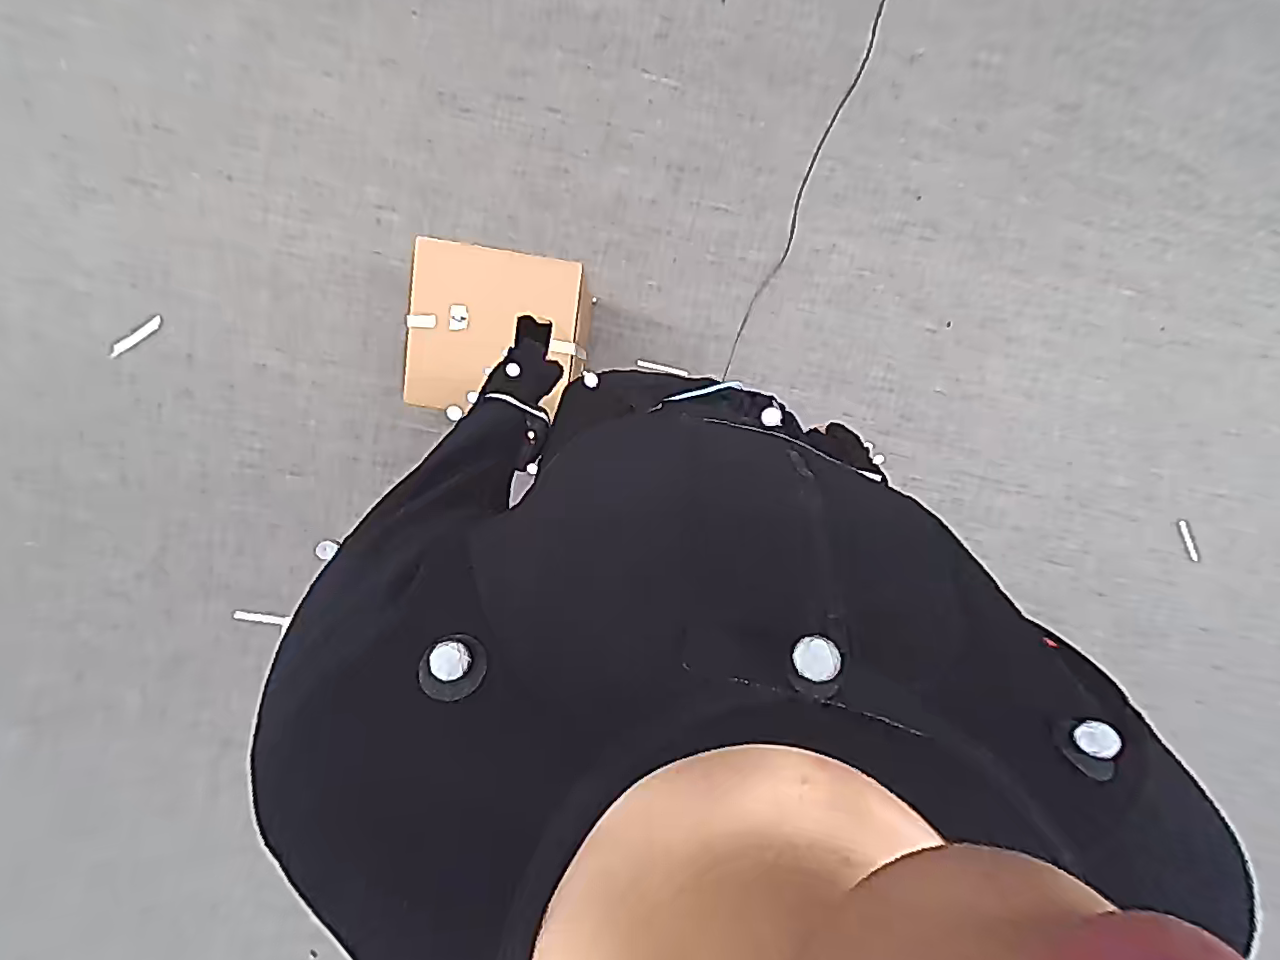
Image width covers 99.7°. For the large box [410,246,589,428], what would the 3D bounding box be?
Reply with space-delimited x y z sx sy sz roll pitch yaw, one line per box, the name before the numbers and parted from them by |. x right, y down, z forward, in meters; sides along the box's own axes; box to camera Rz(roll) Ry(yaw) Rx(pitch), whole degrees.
large box | -0.293 -0.312 1.224 0.320 0.408 0.320 9 101 -5
